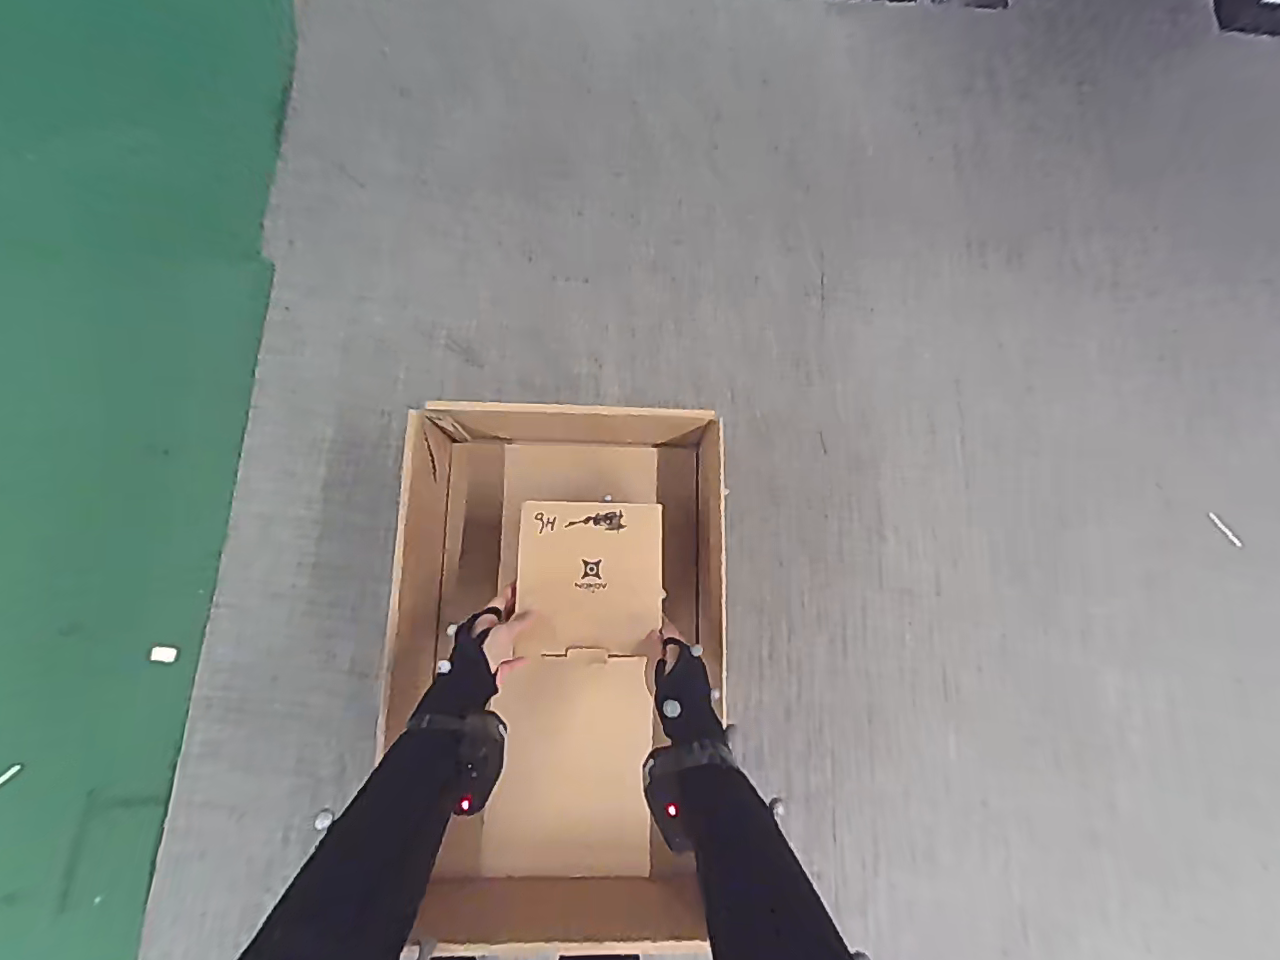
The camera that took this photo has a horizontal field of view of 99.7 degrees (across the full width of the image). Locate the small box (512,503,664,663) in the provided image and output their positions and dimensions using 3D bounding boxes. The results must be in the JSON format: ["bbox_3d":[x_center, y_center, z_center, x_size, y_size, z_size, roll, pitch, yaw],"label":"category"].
[{"bbox_3d":[-0.062,0.132,0.689,0.168,0.176,0.179,3,77,-5],"label":"small box"}]
